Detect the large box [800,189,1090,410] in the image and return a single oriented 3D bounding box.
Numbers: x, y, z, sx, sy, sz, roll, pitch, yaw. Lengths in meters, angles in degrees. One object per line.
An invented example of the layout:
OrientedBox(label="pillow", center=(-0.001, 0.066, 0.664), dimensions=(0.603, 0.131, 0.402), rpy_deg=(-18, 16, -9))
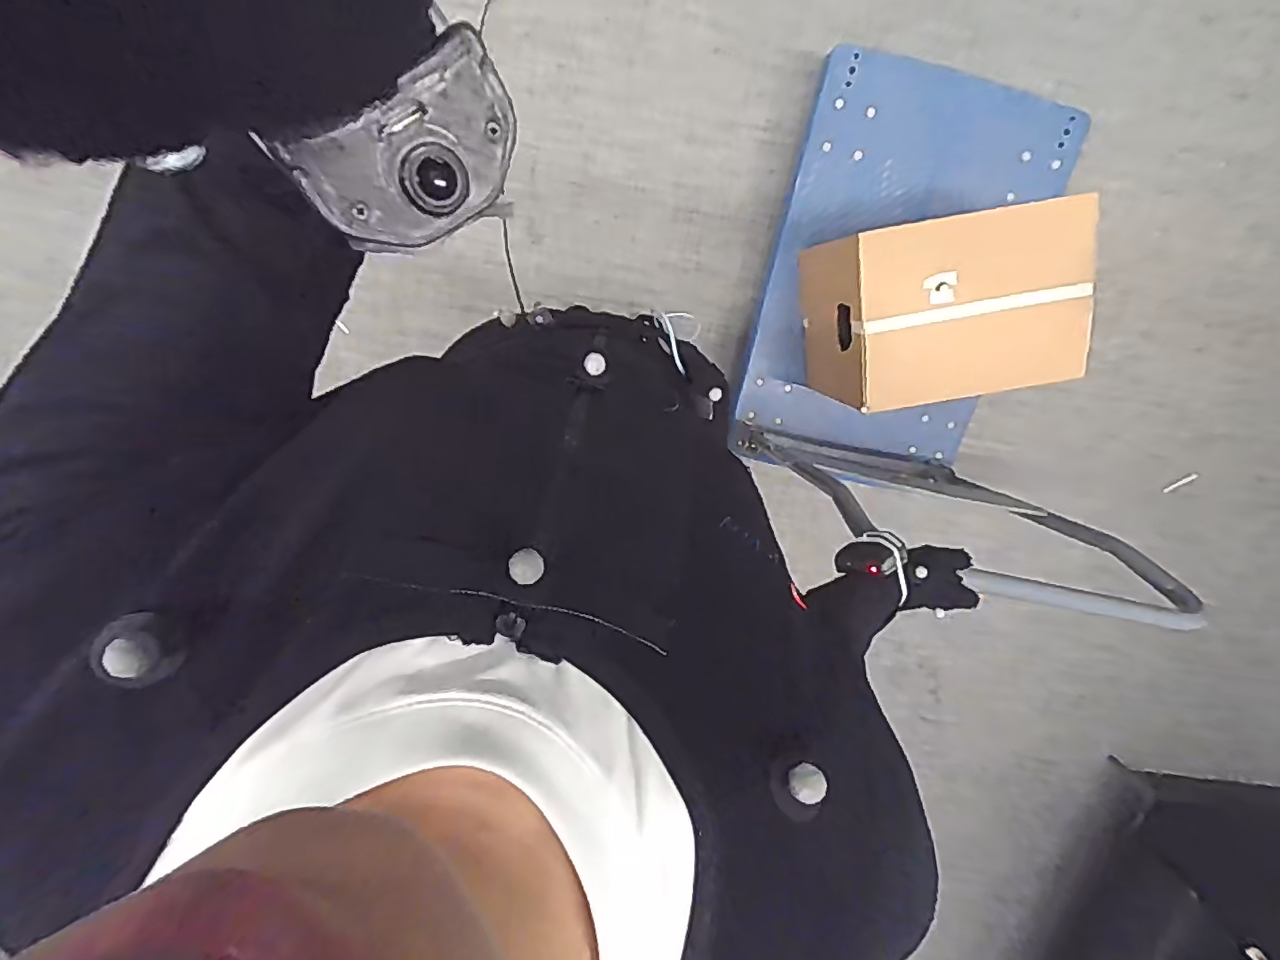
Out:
OrientedBox(label="large box", center=(0.574, -0.354, 1.087), dimensions=(0.408, 0.320, 0.320), rpy_deg=(-9, 108, 2))
